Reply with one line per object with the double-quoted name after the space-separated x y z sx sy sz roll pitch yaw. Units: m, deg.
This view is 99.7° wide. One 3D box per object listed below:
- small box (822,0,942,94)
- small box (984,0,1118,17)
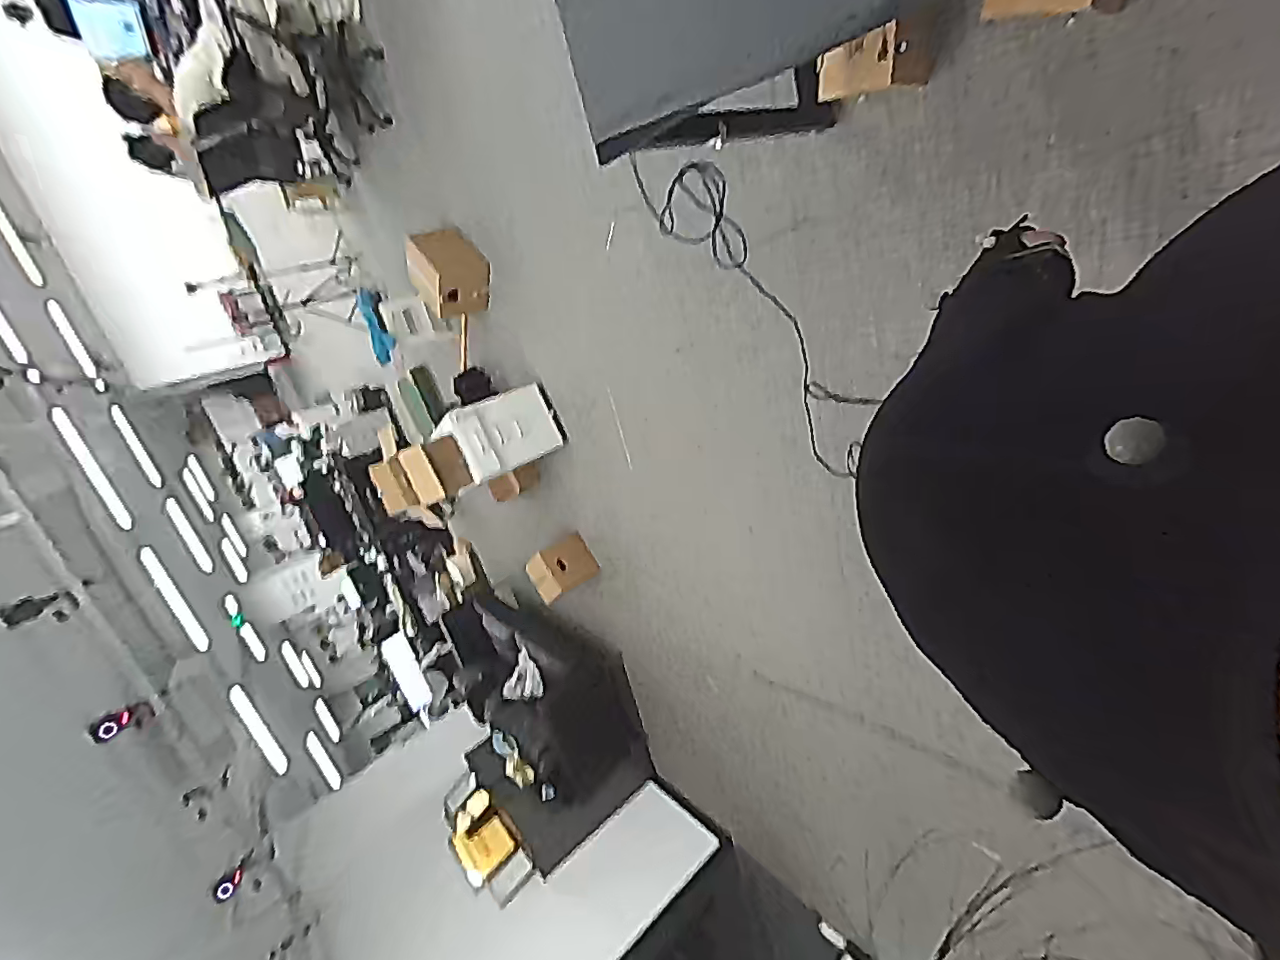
0.529 -0.966 1.194 0.179 0.176 0.168 27 135 45 "small box"
0.742 -0.911 0.926 0.179 0.176 0.168 34 139 39 "small box"
